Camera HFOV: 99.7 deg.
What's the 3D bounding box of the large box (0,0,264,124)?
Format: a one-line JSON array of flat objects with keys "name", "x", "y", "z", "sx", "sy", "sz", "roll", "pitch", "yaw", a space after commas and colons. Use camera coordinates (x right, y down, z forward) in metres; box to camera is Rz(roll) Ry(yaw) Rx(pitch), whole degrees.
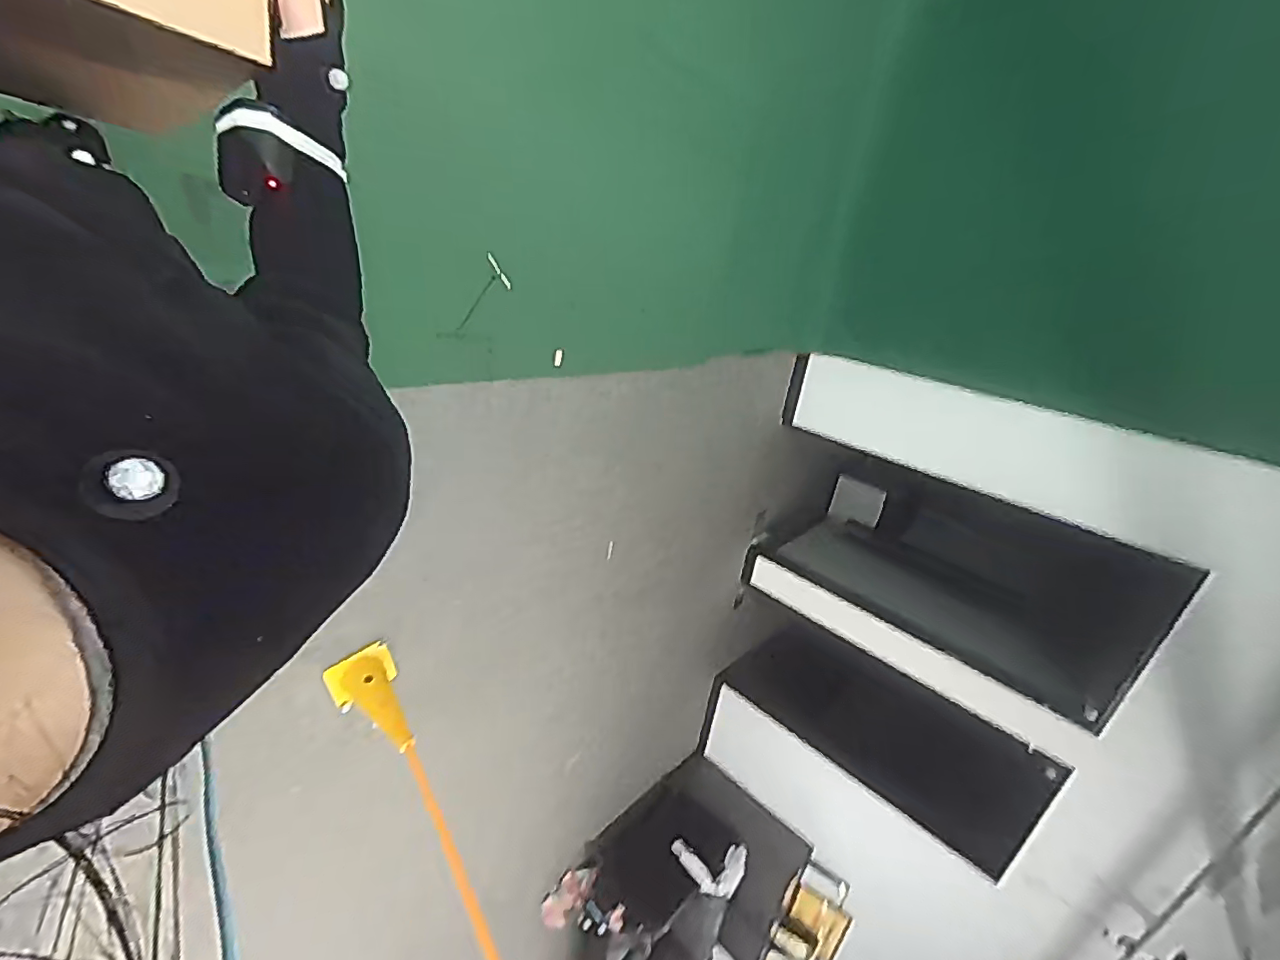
[{"name": "large box", "x": -0.524, "y": -0.475, "z": 0.328, "sx": 0.408, "sy": 0.320, "sz": 0.320, "roll": -13, "pitch": 111, "yaw": -51}]
